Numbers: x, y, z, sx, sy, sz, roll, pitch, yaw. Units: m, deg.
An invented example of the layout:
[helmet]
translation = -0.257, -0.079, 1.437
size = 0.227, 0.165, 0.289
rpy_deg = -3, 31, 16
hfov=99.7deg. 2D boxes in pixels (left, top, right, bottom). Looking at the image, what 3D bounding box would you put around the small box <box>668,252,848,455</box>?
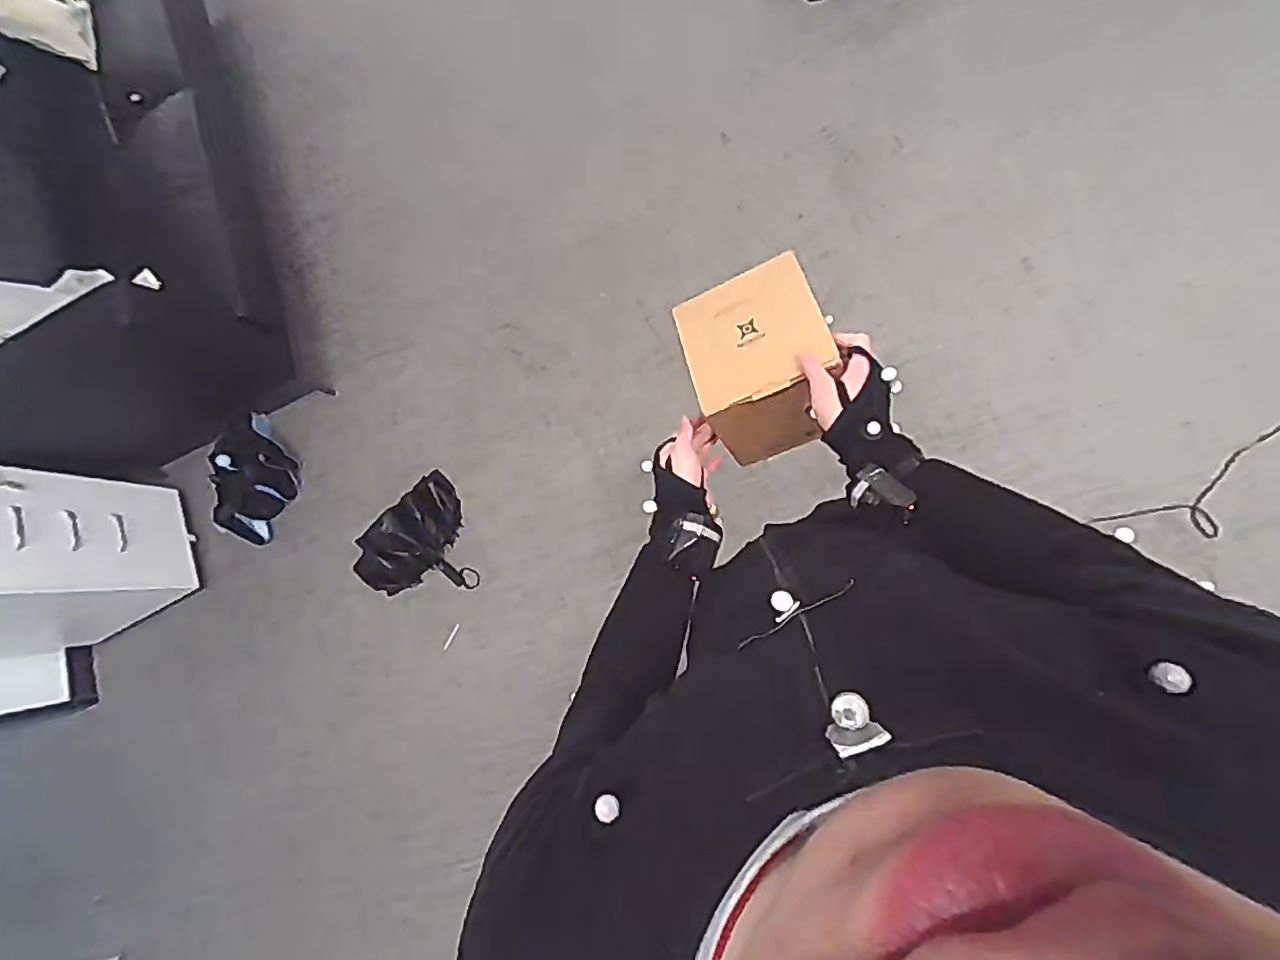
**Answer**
[small box]
translation = 0.159, -0.149, 0.711
size = 0.168, 0.176, 0.179
rpy_deg = -22, 61, 19
